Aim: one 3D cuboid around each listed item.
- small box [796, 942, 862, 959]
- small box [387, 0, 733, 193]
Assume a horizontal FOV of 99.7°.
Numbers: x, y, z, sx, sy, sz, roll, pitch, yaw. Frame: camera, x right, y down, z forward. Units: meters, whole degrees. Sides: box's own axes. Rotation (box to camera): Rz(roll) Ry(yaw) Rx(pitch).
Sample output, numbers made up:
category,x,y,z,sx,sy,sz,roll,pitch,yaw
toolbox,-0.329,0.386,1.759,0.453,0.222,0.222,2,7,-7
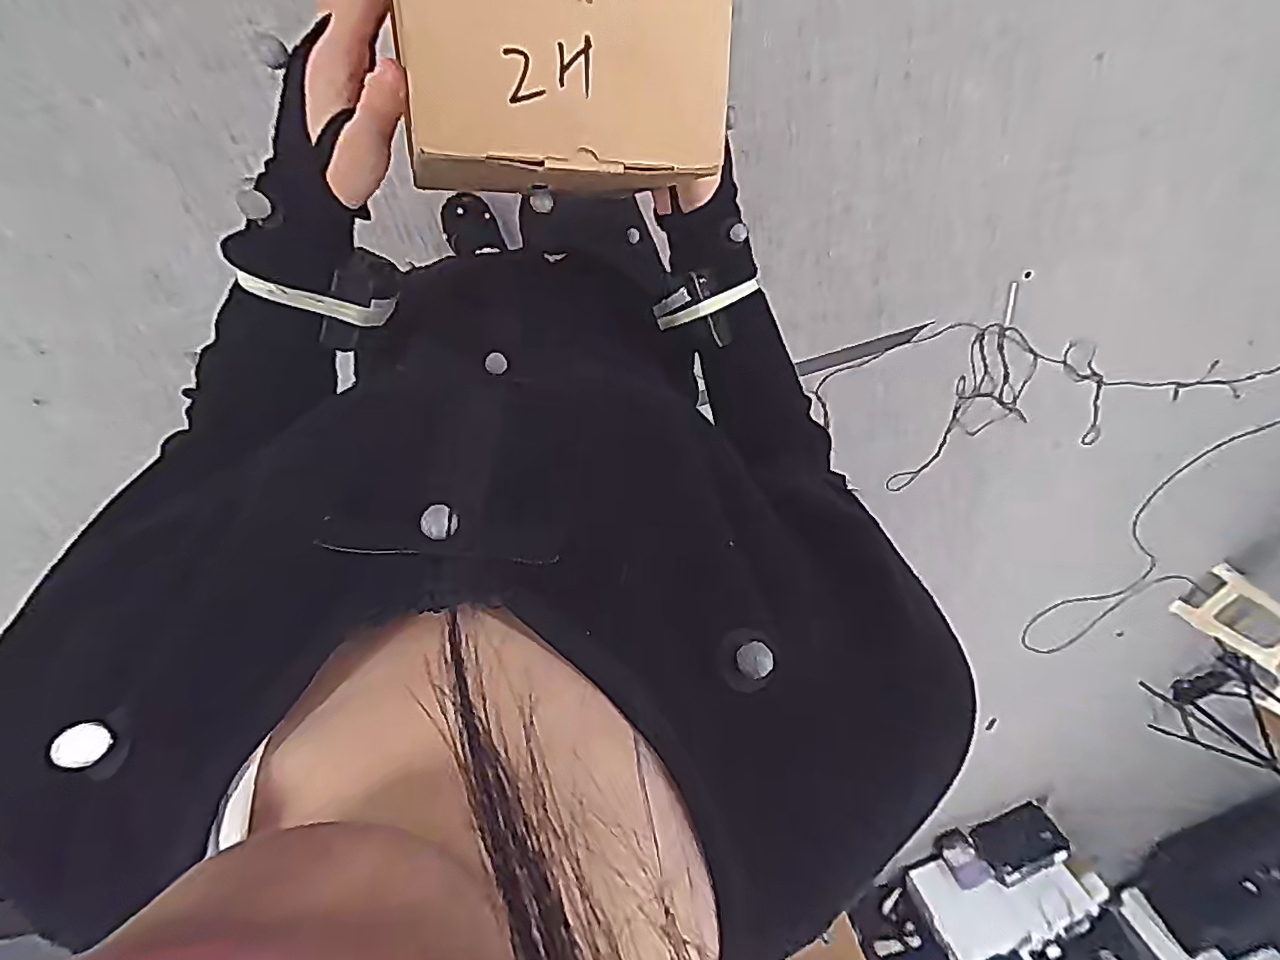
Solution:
category,x,y,z,sx,sy,sz,roll,pitch,yaw
small box,0.425,1.133,1.152,0.168,0.176,0.179,-17,124,-5
small box,-0.058,-0.279,0.317,0.168,0.176,0.179,-8,114,-20
